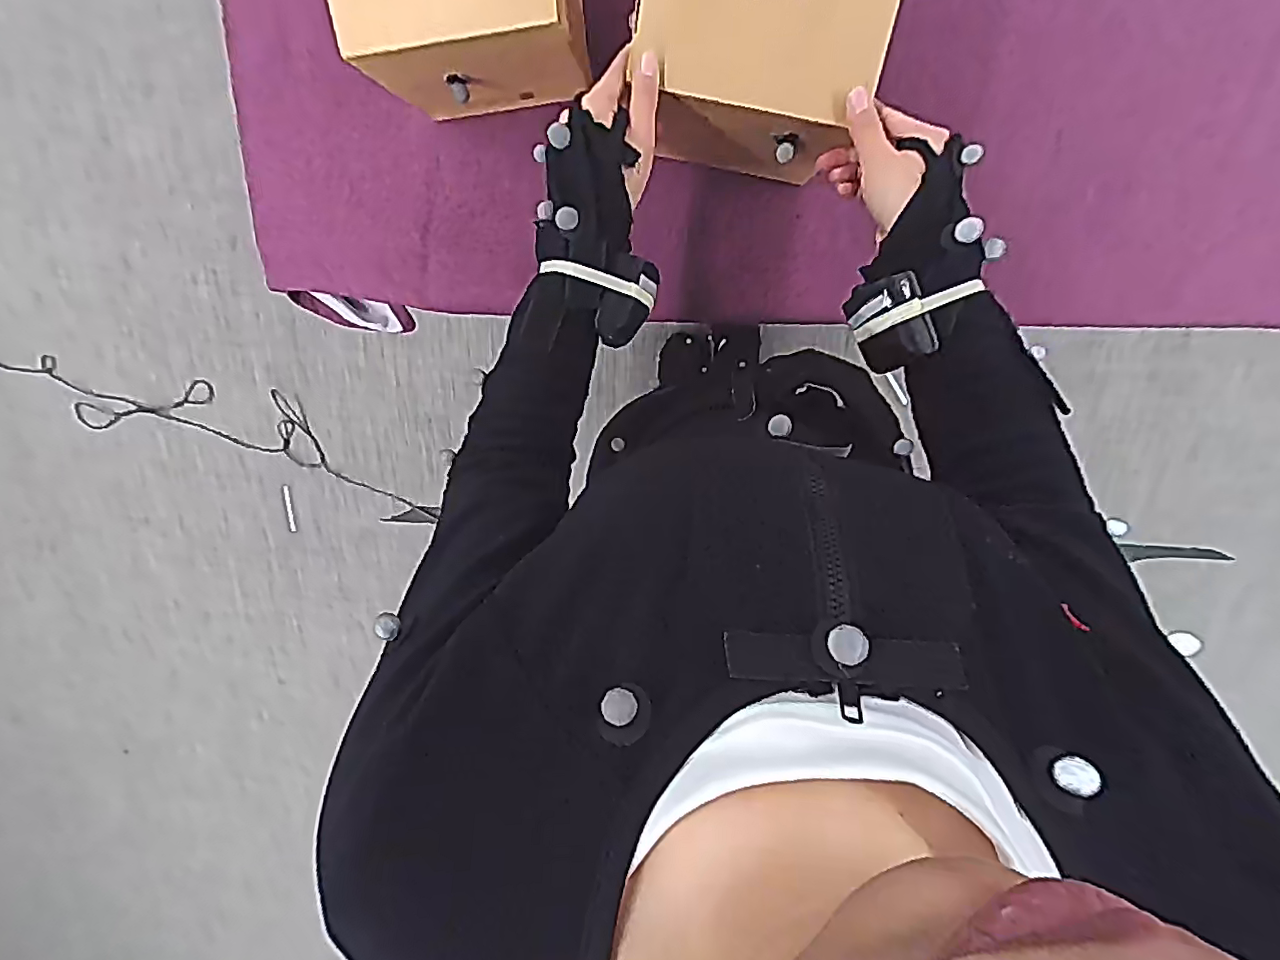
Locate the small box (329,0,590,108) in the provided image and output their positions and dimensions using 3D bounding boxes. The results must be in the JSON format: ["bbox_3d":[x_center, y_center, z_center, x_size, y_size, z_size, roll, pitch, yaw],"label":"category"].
[{"bbox_3d":[-0.142,-0.428,0.435,0.168,0.176,0.179,-6,108,6],"label":"small box"}]

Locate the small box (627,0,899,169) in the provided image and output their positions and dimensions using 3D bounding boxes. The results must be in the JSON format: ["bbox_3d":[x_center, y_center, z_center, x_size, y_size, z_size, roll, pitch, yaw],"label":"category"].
[{"bbox_3d":[0.092,-0.368,0.432,0.179,0.176,0.168,11,107,-1],"label":"small box"}]
